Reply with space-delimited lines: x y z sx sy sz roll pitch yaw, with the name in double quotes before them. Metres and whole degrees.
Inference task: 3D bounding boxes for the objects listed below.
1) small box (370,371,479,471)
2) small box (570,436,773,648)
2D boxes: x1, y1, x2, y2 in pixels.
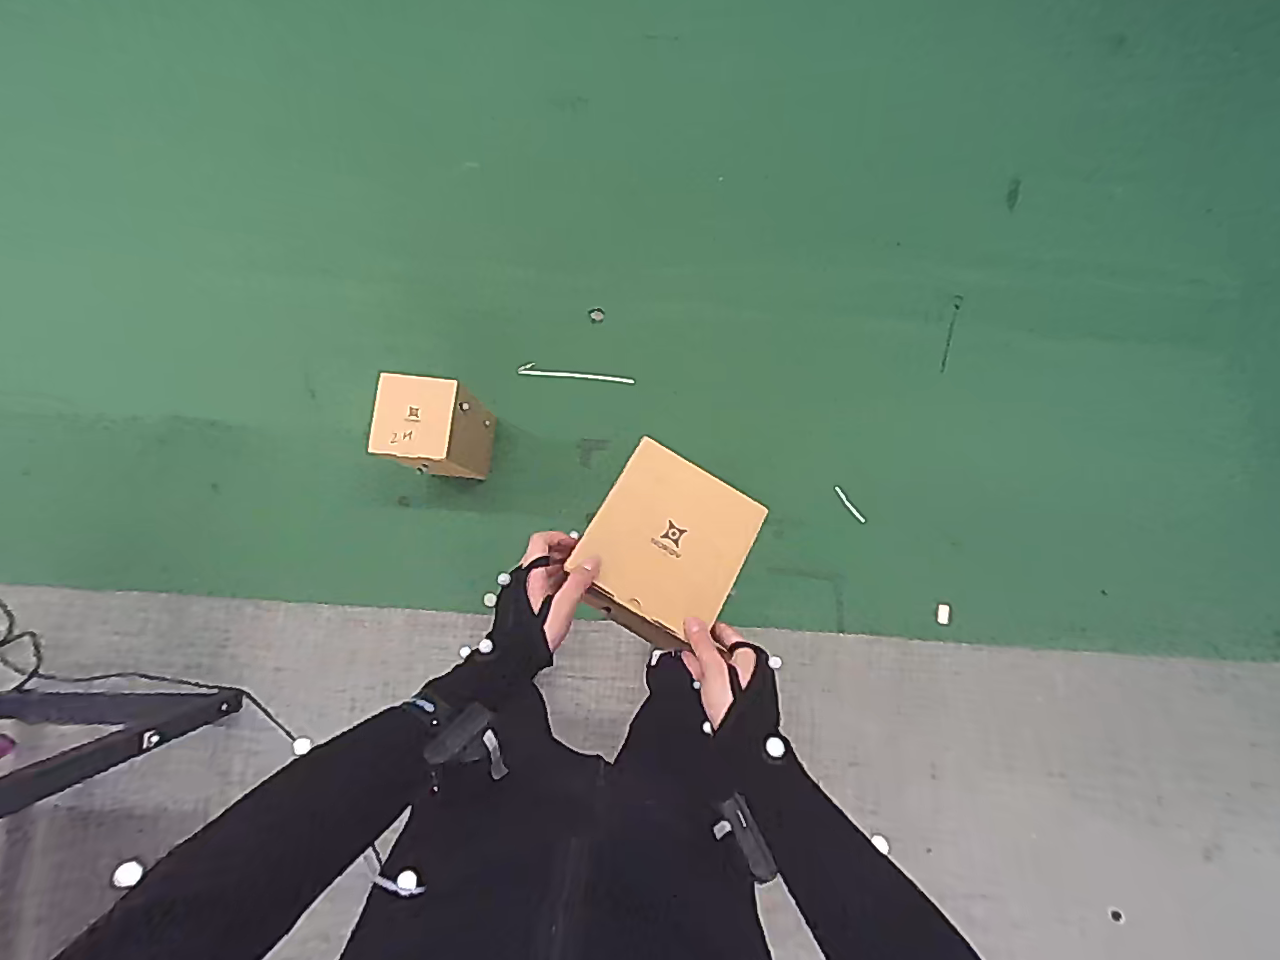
"small box" -0.468 -0.125 1.206 0.168 0.176 0.179 7 83 0
"small box" 0.026 0.082 0.652 0.168 0.176 0.179 31 71 -1
